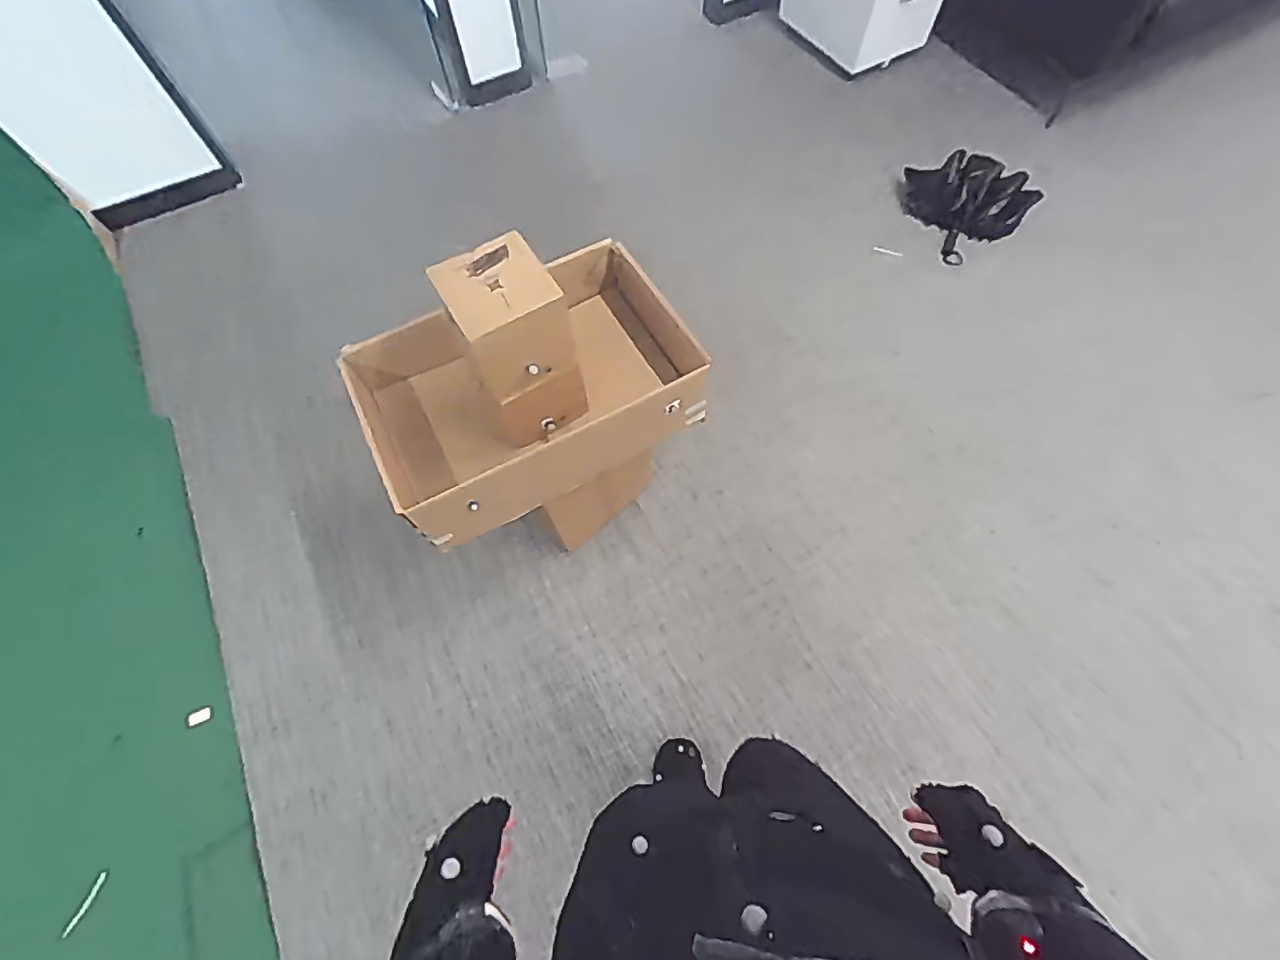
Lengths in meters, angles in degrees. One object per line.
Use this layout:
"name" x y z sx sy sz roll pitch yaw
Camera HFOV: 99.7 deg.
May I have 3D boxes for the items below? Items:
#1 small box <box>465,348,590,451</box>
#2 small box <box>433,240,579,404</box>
"small box" -0.217 -0.190 1.074 0.168 0.176 0.179 -32 68 -12
"small box" -0.222 -0.265 0.928 0.168 0.176 0.179 -30 67 -11
